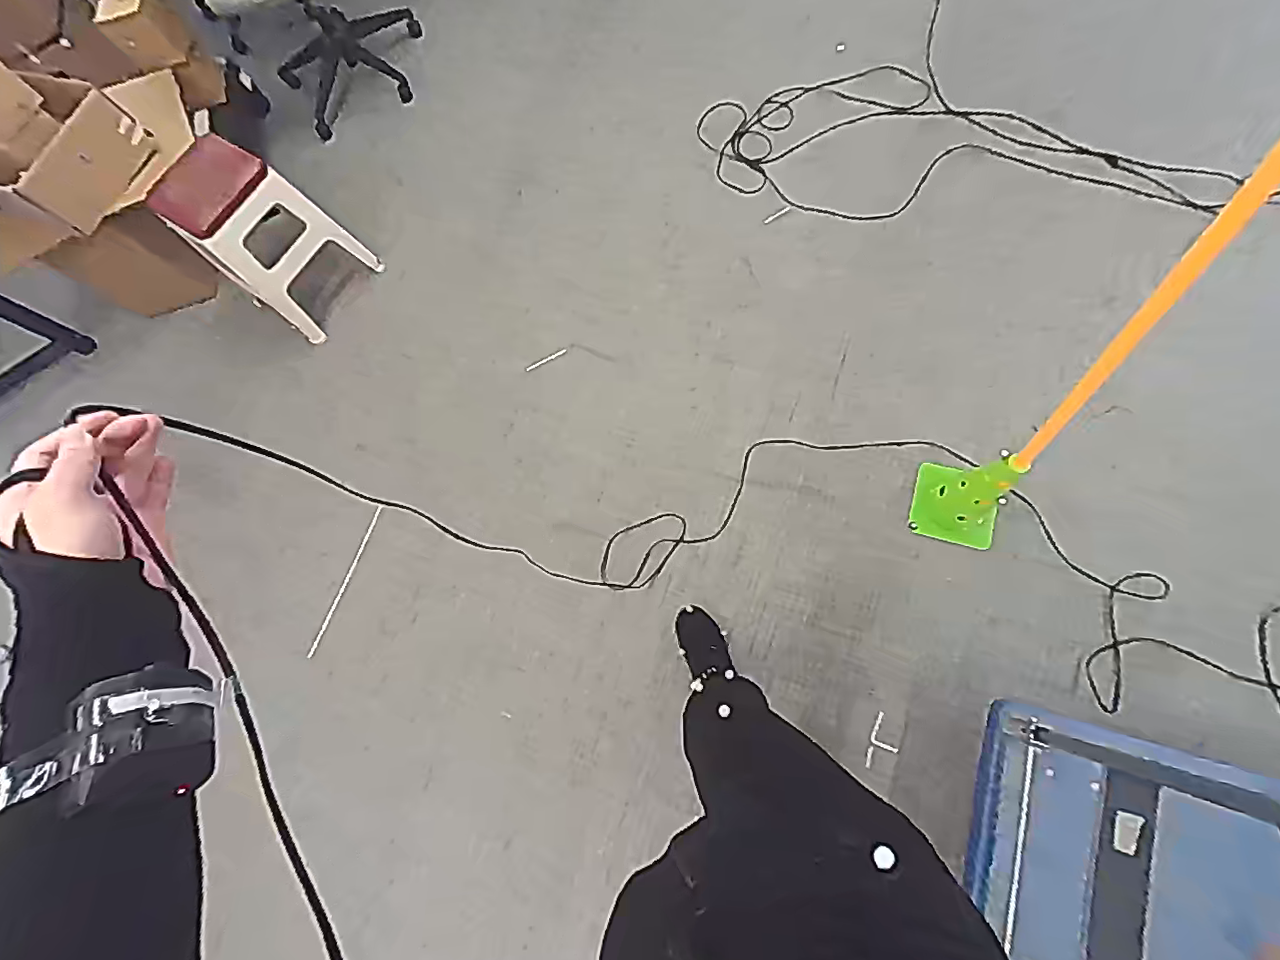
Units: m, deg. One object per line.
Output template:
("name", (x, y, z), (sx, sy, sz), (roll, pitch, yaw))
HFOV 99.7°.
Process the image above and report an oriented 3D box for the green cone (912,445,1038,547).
("green cone", (0.796, 0.008, 1.236), (0.200, 0.368, 0.202), (15, 75, 13))
